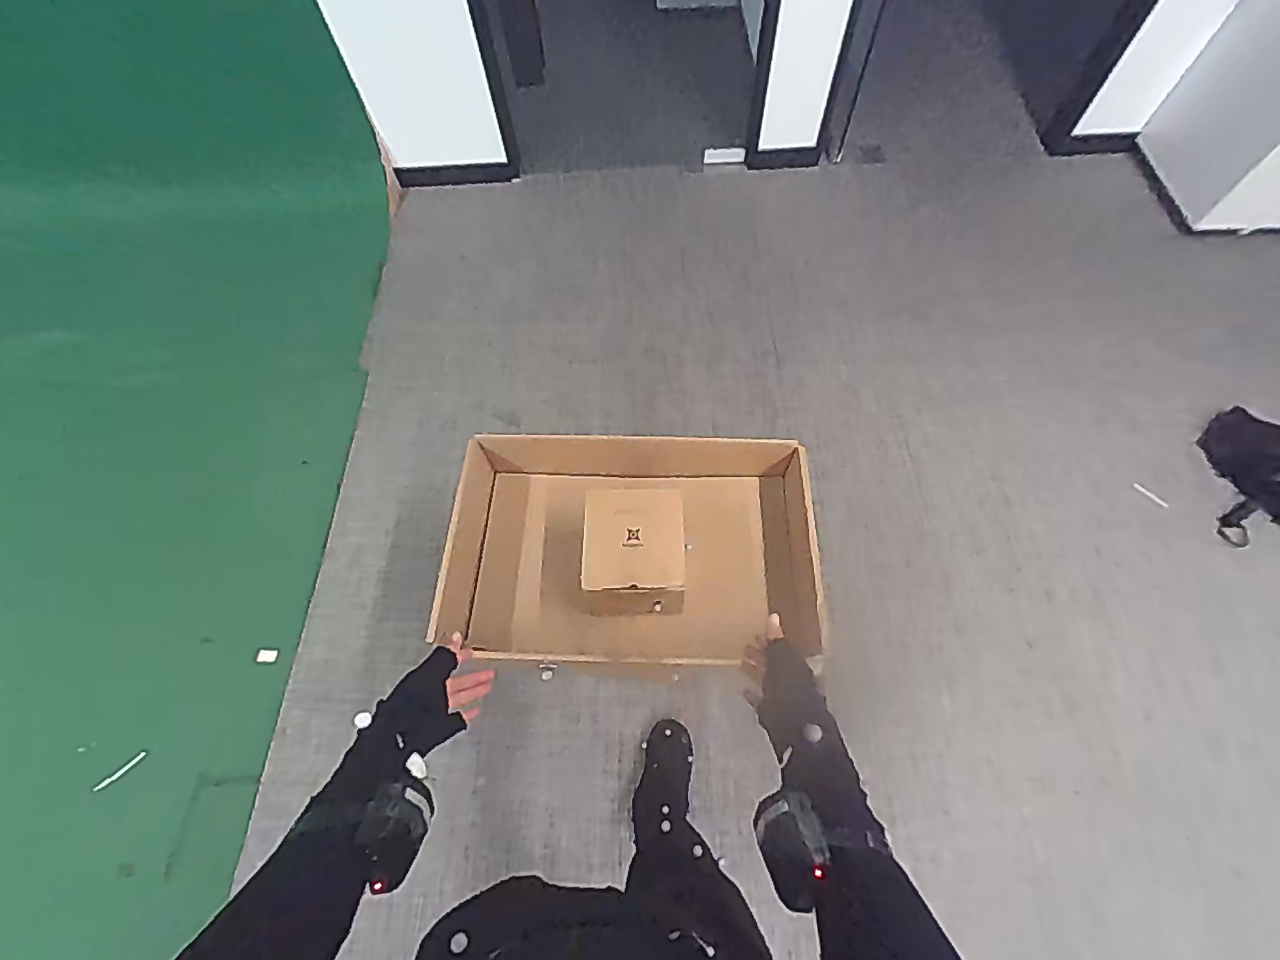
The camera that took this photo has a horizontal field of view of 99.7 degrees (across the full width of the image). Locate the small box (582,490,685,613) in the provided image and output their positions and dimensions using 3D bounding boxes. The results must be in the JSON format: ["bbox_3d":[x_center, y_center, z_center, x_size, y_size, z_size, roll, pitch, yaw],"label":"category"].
[{"bbox_3d":[-0.008,0.132,0.950,0.168,0.176,0.179,-1,61,0],"label":"small box"}]
